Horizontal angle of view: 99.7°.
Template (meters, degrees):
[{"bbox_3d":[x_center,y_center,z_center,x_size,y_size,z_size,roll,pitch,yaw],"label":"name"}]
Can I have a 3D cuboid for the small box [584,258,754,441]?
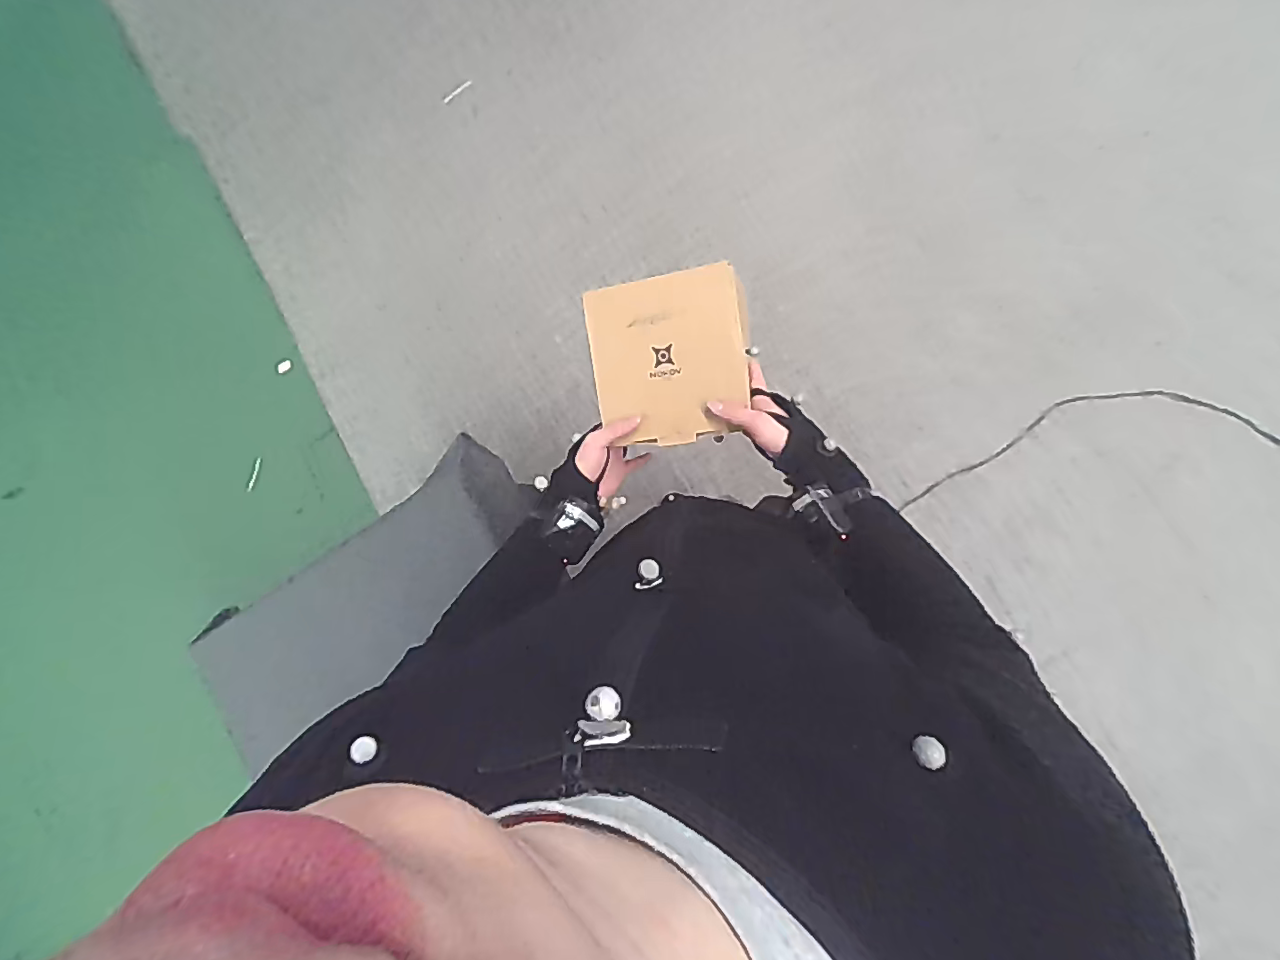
[{"bbox_3d":[0.047,-0.151,0.664,0.168,0.176,0.179,-6,98,15],"label":"small box"}]

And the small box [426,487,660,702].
[{"bbox_3d":[-0.111,0.121,0.637,0.176,0.168,0.179,-2,121,41],"label":"small box"}]
